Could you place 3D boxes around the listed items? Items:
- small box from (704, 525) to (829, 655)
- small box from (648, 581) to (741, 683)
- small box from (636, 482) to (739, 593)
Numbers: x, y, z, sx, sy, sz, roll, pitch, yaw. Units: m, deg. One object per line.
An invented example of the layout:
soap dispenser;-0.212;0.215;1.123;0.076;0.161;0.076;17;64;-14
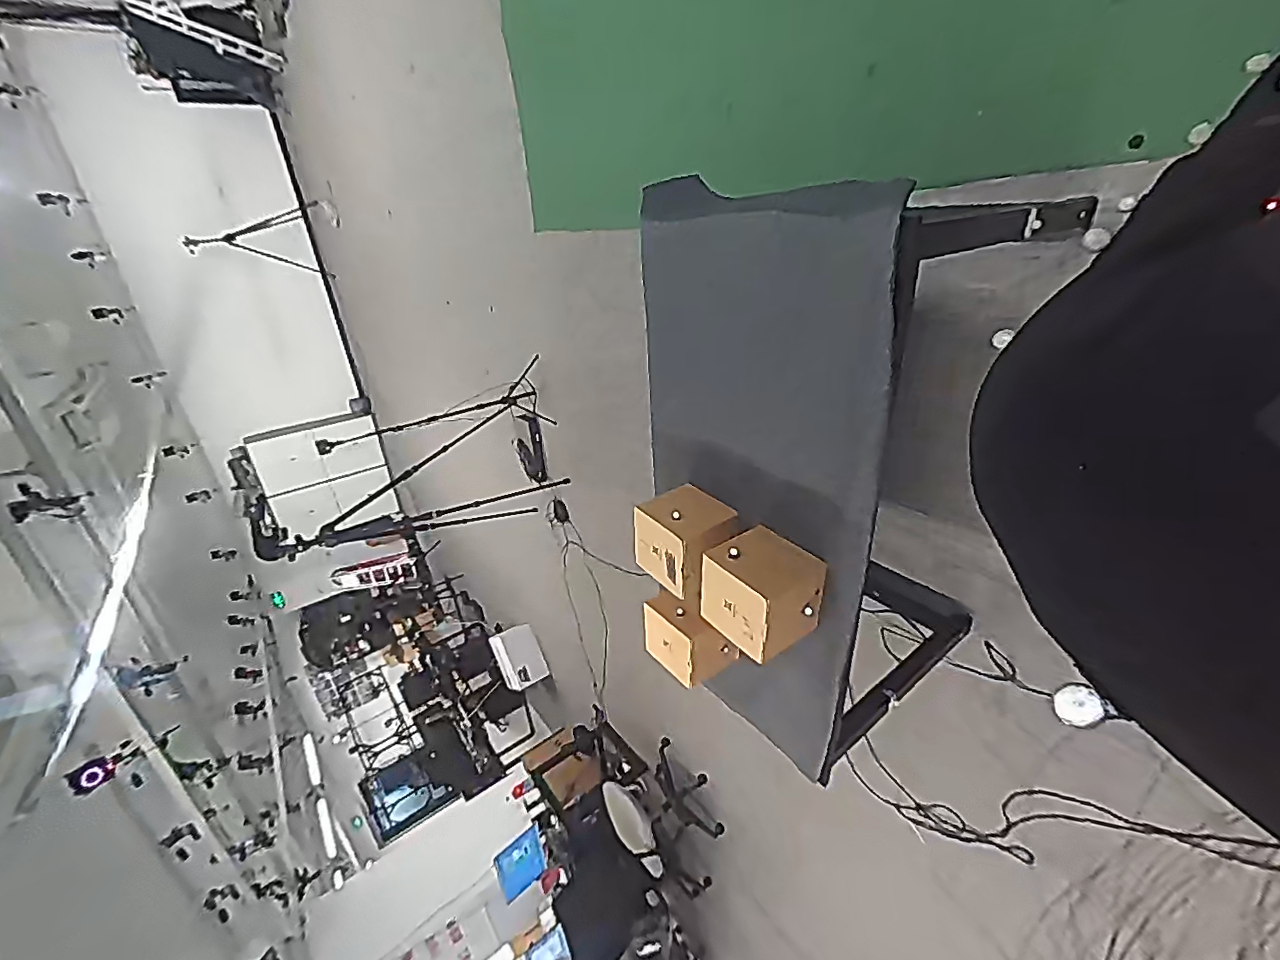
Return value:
small box;0.250;0.210;1.094;0.179;0.176;0.168;32;134;45
small box;0.140;0.365;1.366;0.179;0.176;0.168;29;132;45
small box;0.111;0.124;1.255;0.179;0.176;0.168;31;134;44
